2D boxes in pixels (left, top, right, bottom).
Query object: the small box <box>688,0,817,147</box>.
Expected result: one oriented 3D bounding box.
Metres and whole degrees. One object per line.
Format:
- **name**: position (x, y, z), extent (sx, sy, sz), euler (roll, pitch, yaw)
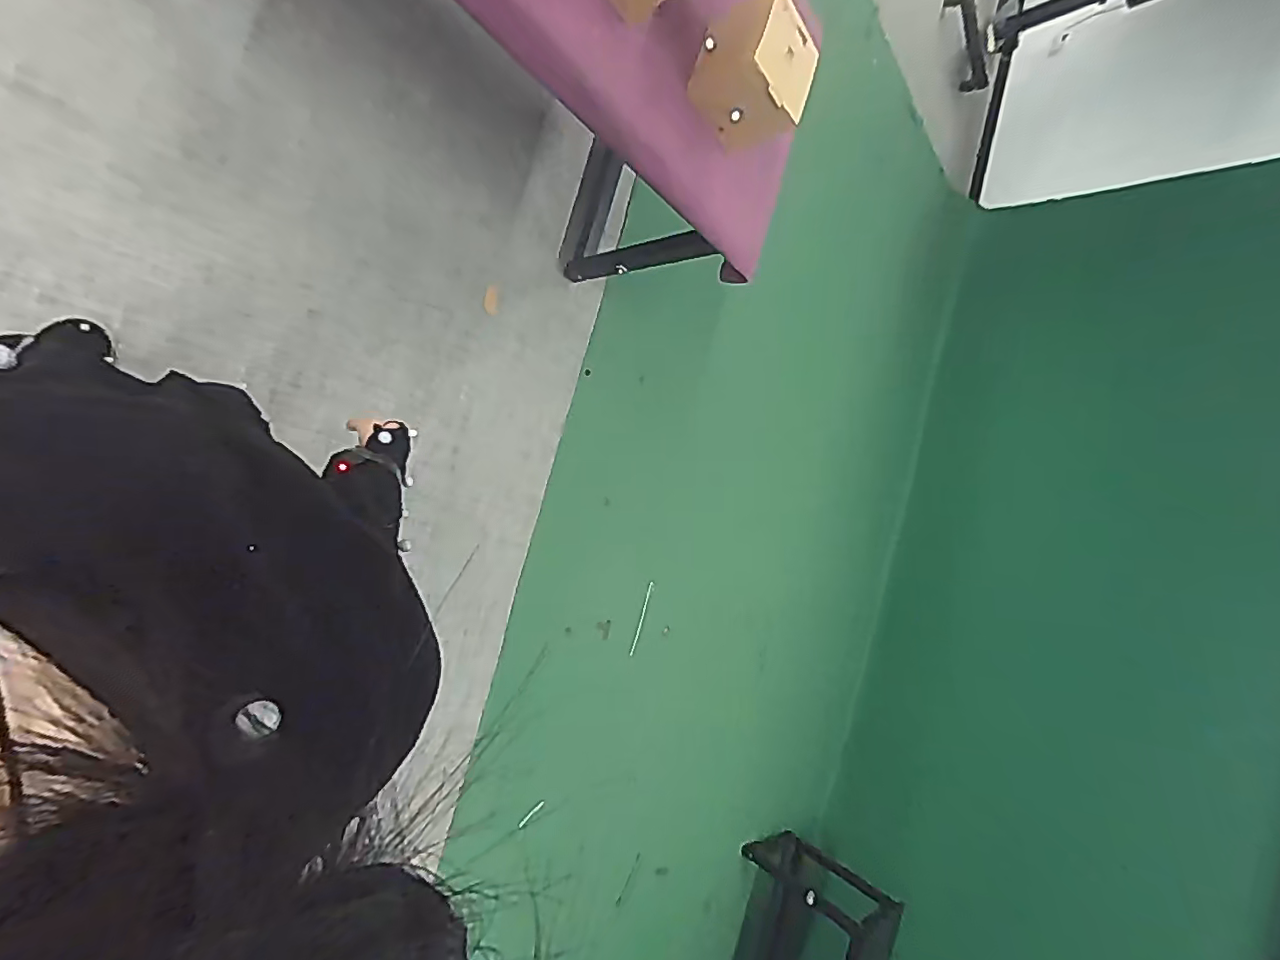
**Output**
- **small box**: position (0.219, -0.809, 1.076), extent (0.168, 0.176, 0.179), euler (26, 80, -44)
